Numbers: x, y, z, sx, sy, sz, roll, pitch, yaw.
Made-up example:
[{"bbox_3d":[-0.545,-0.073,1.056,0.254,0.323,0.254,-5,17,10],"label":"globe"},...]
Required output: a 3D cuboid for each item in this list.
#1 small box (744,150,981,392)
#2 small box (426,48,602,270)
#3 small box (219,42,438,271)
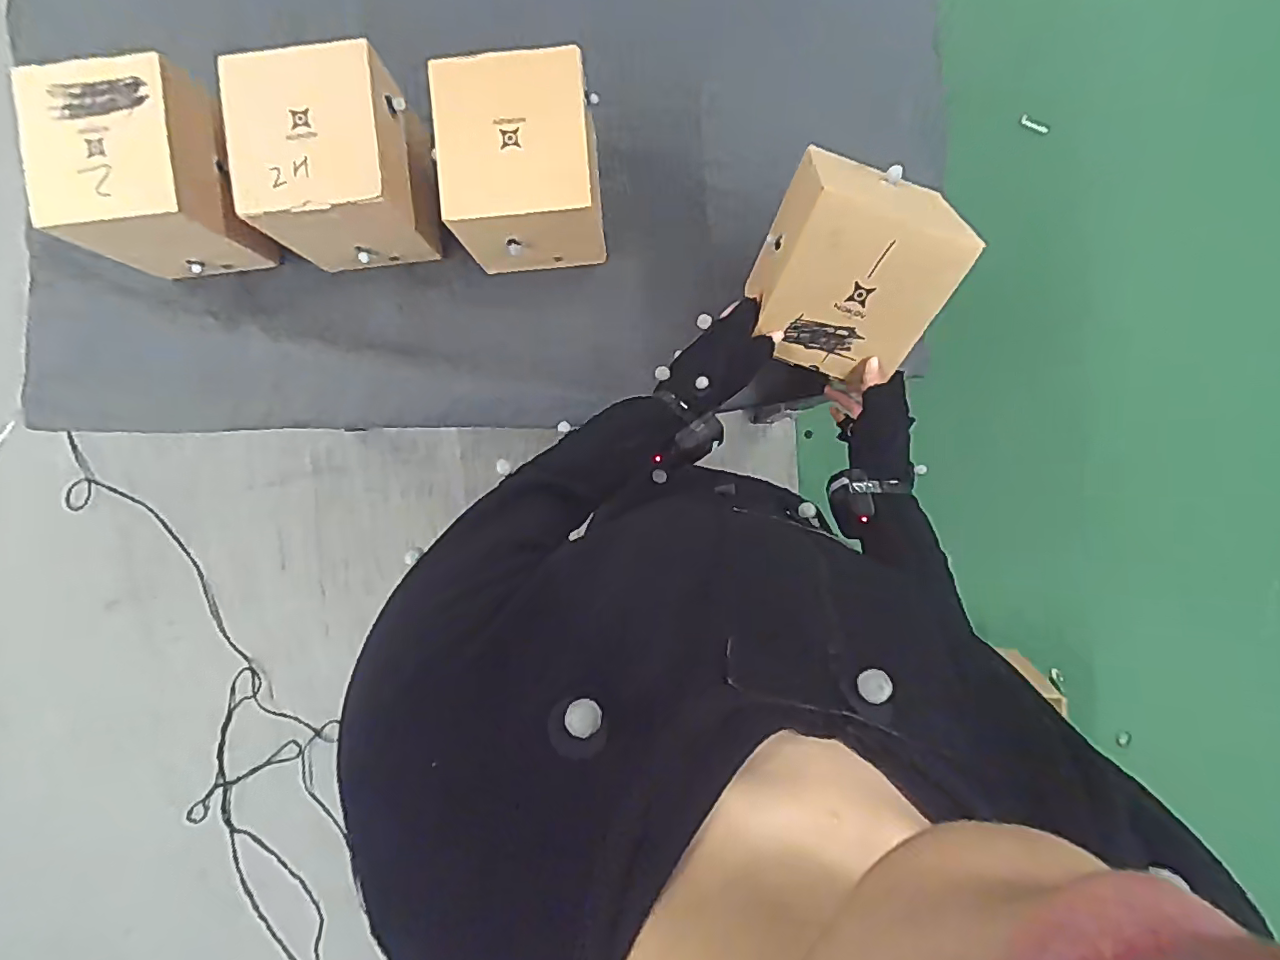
[{"bbox_3d":[0.229,-0.235,0.606,0.168,0.176,0.179,18,132,-6],"label":"small box"},{"bbox_3d":[-0.141,-0.371,0.661,0.168,0.176,0.179,-5,90,1],"label":"small box"},{"bbox_3d":[-0.365,-0.380,0.663,0.168,0.176,0.179,-6,91,1],"label":"small box"}]
